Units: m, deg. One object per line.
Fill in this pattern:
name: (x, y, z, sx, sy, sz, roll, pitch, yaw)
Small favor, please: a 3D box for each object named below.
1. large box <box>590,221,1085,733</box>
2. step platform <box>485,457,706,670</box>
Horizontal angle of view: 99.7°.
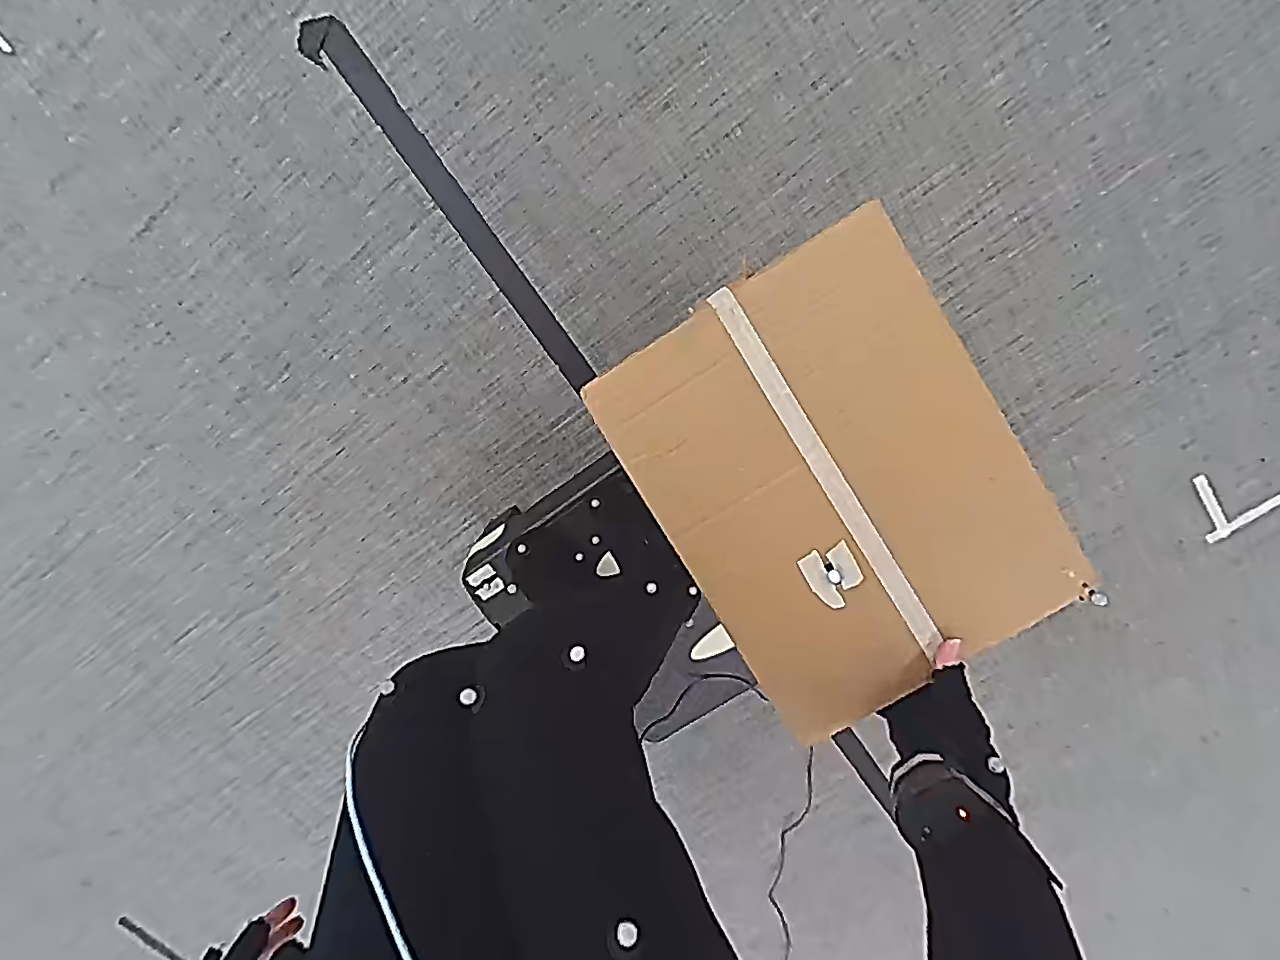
large box: (0.191, -0.008, 0.656, 0.320, 0.320, 0.408, -32, 94, 7)
step platform: (0.058, 0.040, 0.962, 0.684, 0.204, 0.286, -37, 104, 10)
